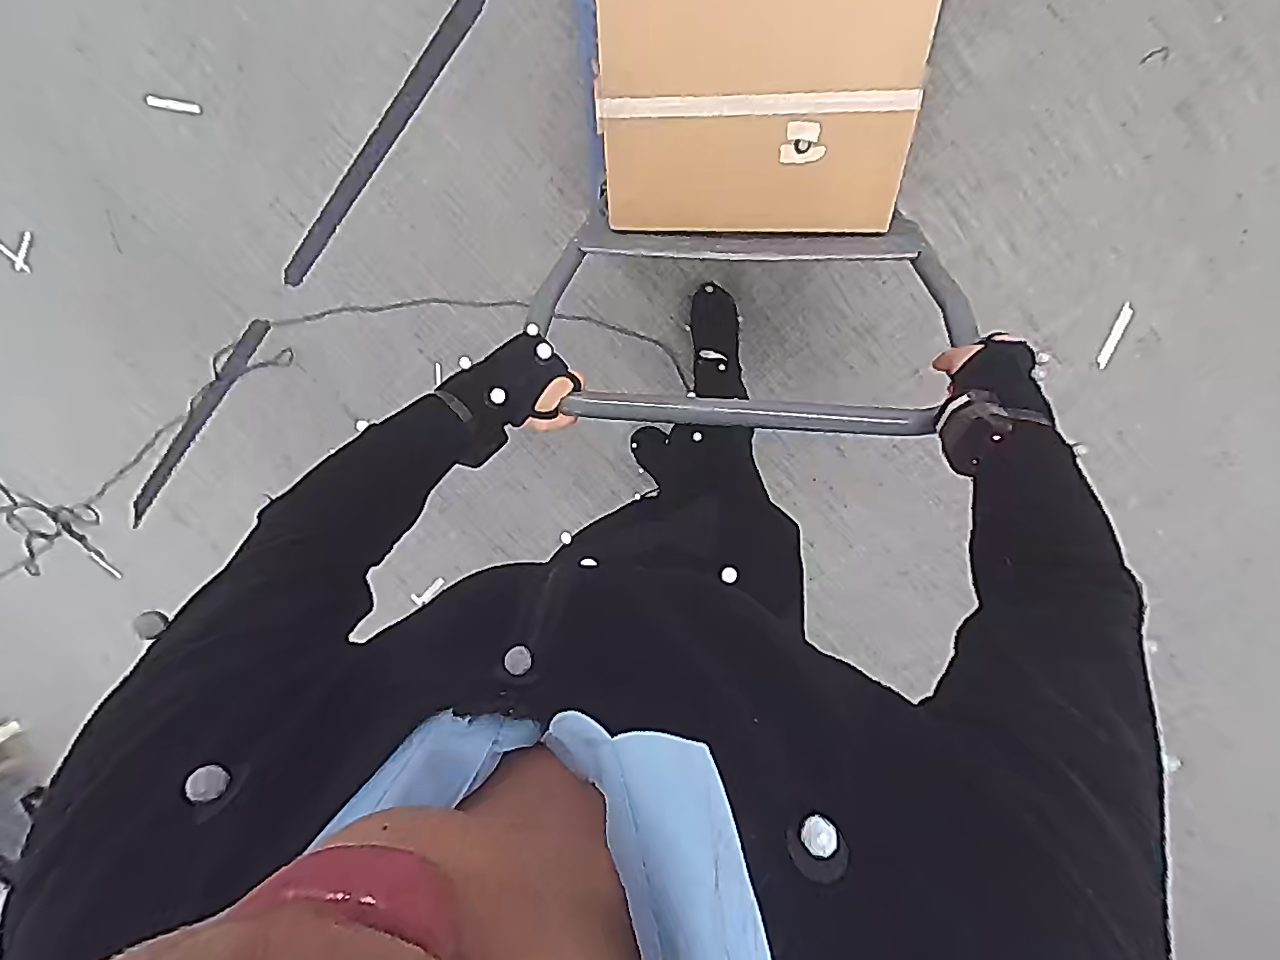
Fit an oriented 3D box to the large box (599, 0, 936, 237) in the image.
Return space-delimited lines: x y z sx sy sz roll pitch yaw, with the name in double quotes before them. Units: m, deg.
"large box" 0.167 -0.575 0.827 0.408 0.320 0.320 3 128 6
